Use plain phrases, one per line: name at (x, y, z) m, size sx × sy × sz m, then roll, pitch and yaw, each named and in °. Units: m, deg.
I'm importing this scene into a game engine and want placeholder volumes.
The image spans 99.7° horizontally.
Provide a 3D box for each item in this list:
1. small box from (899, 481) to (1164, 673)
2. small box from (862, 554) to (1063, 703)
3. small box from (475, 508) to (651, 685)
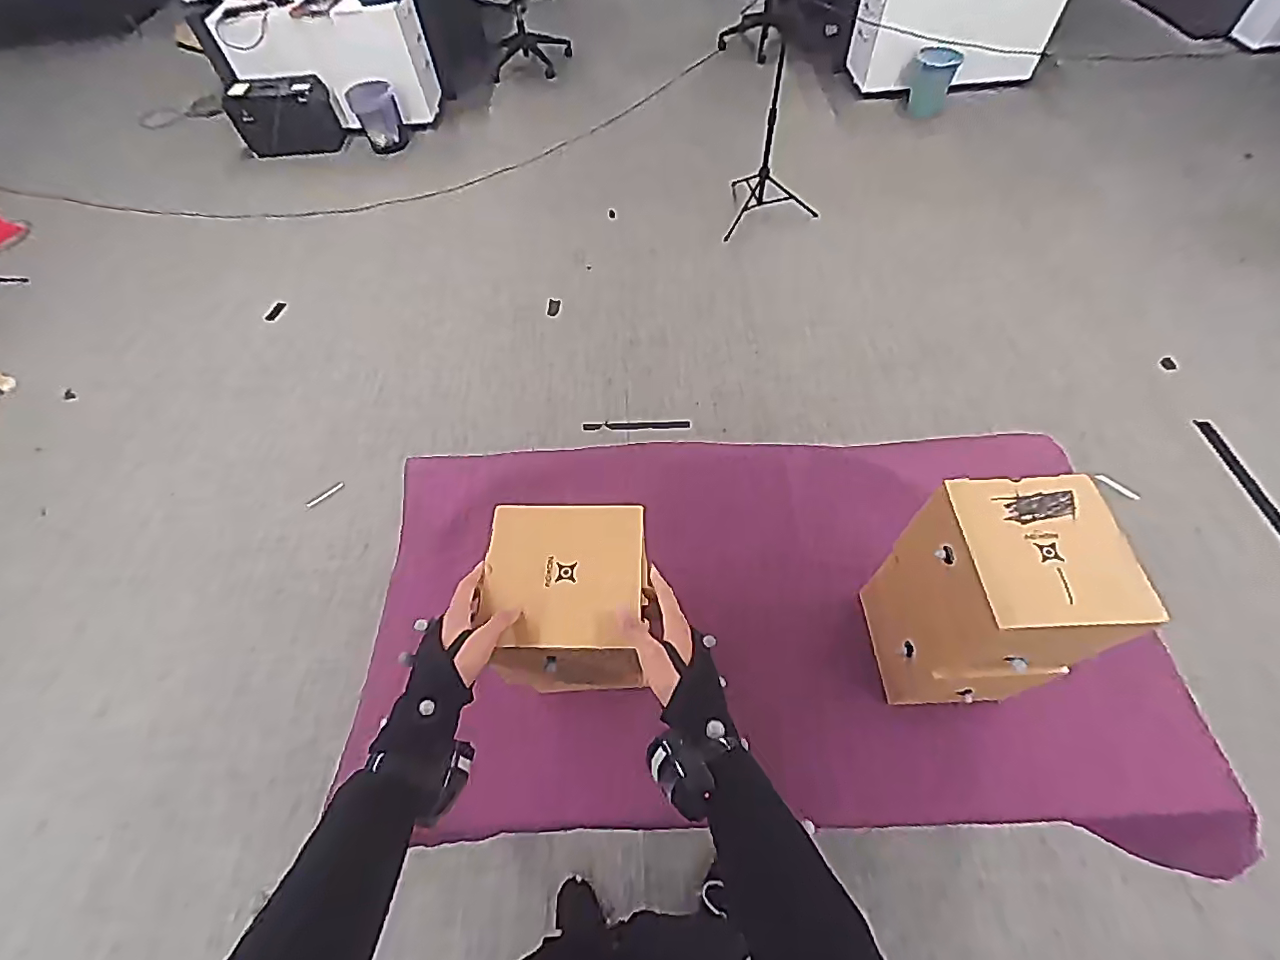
small box at (0.433, 0.119, 0.641) m, size 0.168 × 0.176 × 0.179 m, roll -2°, pitch 58°, yaw 2°
small box at (0.440, 0.216, 0.774) m, size 0.168 × 0.176 × 0.179 m, roll -2°, pitch 57°, yaw 1°
small box at (-0.076, 0.145, 0.656) m, size 0.179 × 0.176 × 0.168 m, roll 0°, pitch 58°, yaw 4°
